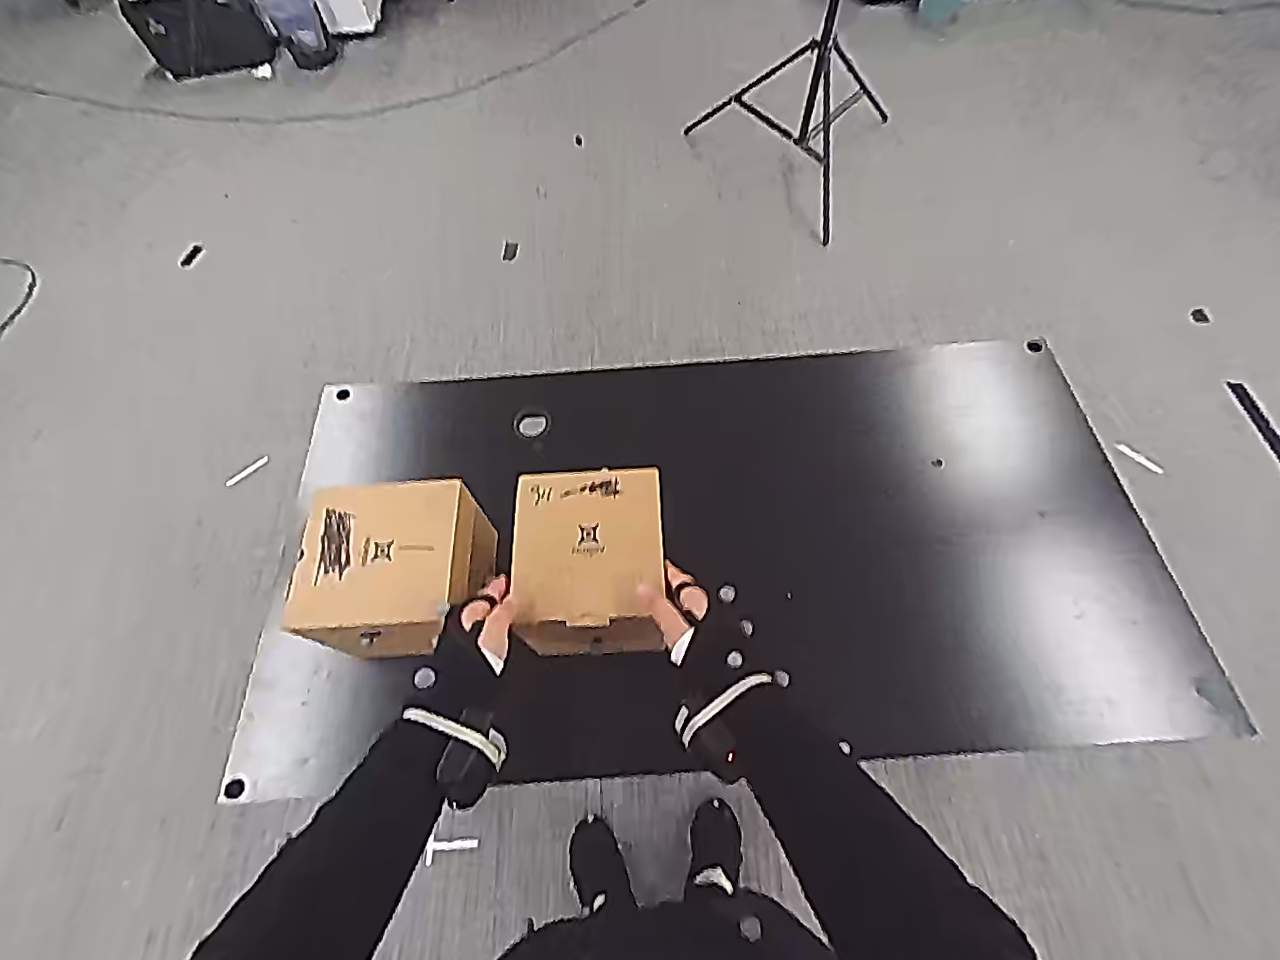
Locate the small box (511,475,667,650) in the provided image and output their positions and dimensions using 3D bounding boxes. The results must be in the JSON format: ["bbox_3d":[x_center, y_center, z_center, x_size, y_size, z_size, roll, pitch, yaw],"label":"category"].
[{"bbox_3d":[-0.052,0.110,0.668,0.168,0.176,0.179,-3,63,1],"label":"small box"}]

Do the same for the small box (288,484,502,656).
[{"bbox_3d":[-0.284,0.118,0.672,0.179,0.176,0.168,-3,63,0],"label":"small box"}]
